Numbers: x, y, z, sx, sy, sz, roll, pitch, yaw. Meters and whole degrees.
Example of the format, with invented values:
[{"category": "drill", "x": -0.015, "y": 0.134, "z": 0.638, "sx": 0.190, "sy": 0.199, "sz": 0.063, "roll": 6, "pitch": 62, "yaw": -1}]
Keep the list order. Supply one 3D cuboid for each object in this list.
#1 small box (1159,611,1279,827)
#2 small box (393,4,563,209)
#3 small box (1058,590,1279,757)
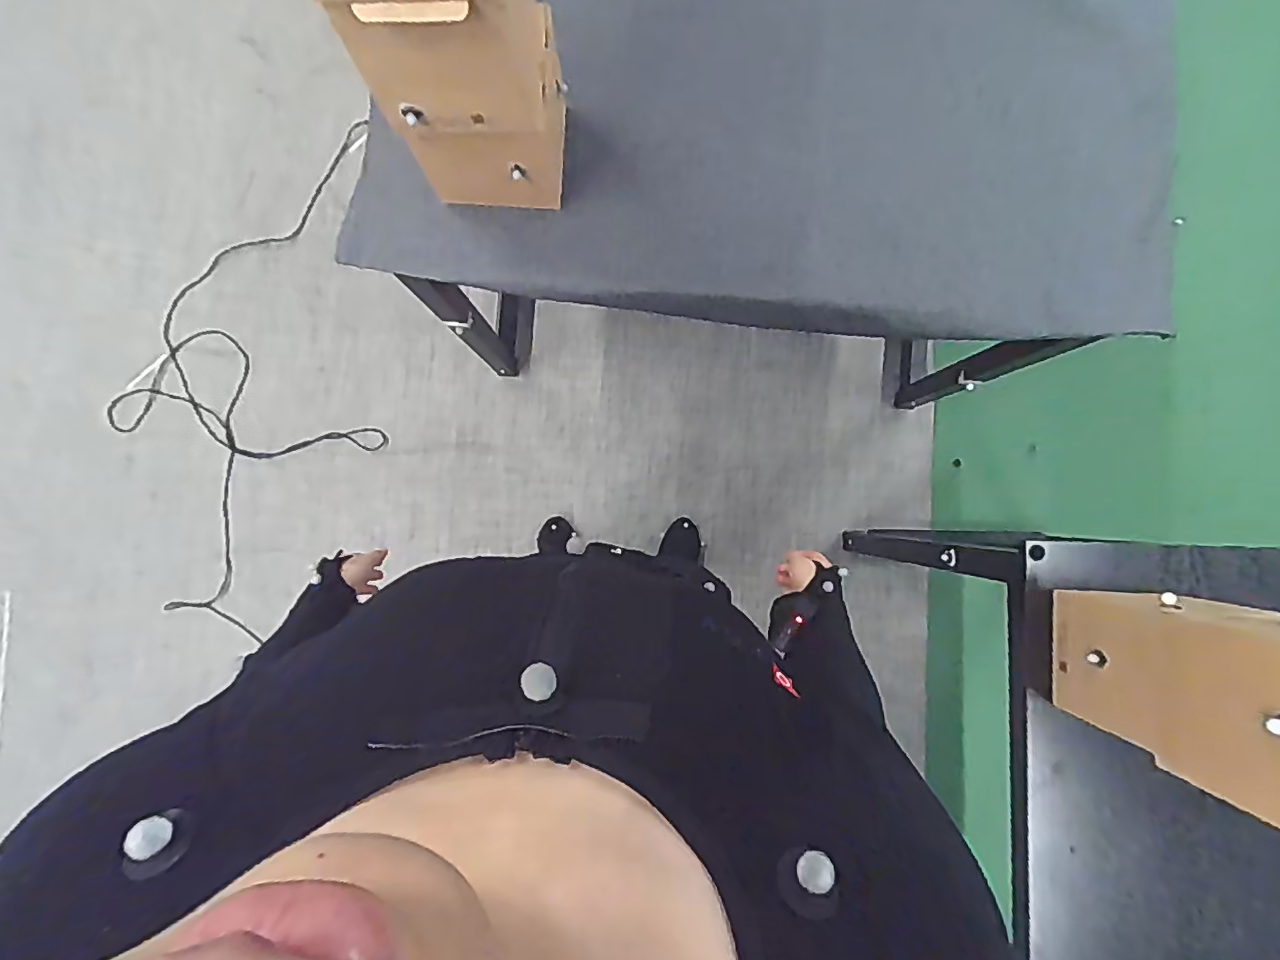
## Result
[{"category": "small box", "x": 0.657, "y": 0.234, "z": 0.522, "sx": 0.168, "sy": 0.176, "sz": 0.179, "roll": 2, "pitch": 87, "yaw": 0}, {"category": "small box", "x": -0.202, "y": -0.486, "z": 0.723, "sx": 0.179, "sy": 0.176, "sz": 0.168, "roll": 2, "pitch": 85, "yaw": 1}, {"category": "small box", "x": 0.673, "y": 0.237, "z": 0.684, "sx": 0.179, "sy": 0.176, "sz": 0.168, "roll": 2, "pitch": 88, "yaw": 0}]
